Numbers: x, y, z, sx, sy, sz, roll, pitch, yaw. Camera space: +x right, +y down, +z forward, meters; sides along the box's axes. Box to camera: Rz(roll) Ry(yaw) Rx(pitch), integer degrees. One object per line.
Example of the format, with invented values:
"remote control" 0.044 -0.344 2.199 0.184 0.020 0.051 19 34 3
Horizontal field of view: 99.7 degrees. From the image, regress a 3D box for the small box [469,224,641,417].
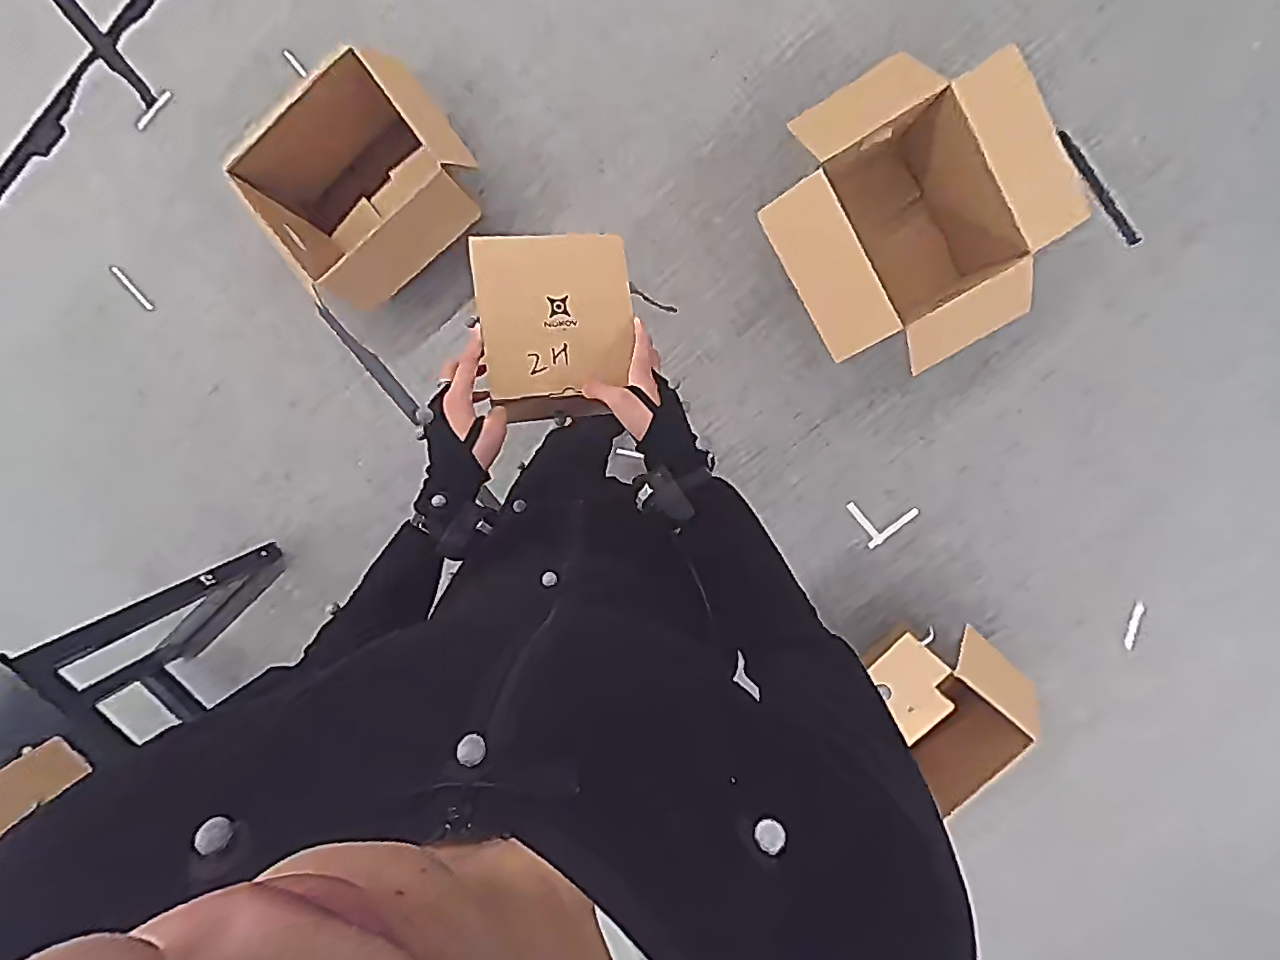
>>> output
"small box" -0.107 -0.180 0.647 0.168 0.176 0.179 -8 90 -13
